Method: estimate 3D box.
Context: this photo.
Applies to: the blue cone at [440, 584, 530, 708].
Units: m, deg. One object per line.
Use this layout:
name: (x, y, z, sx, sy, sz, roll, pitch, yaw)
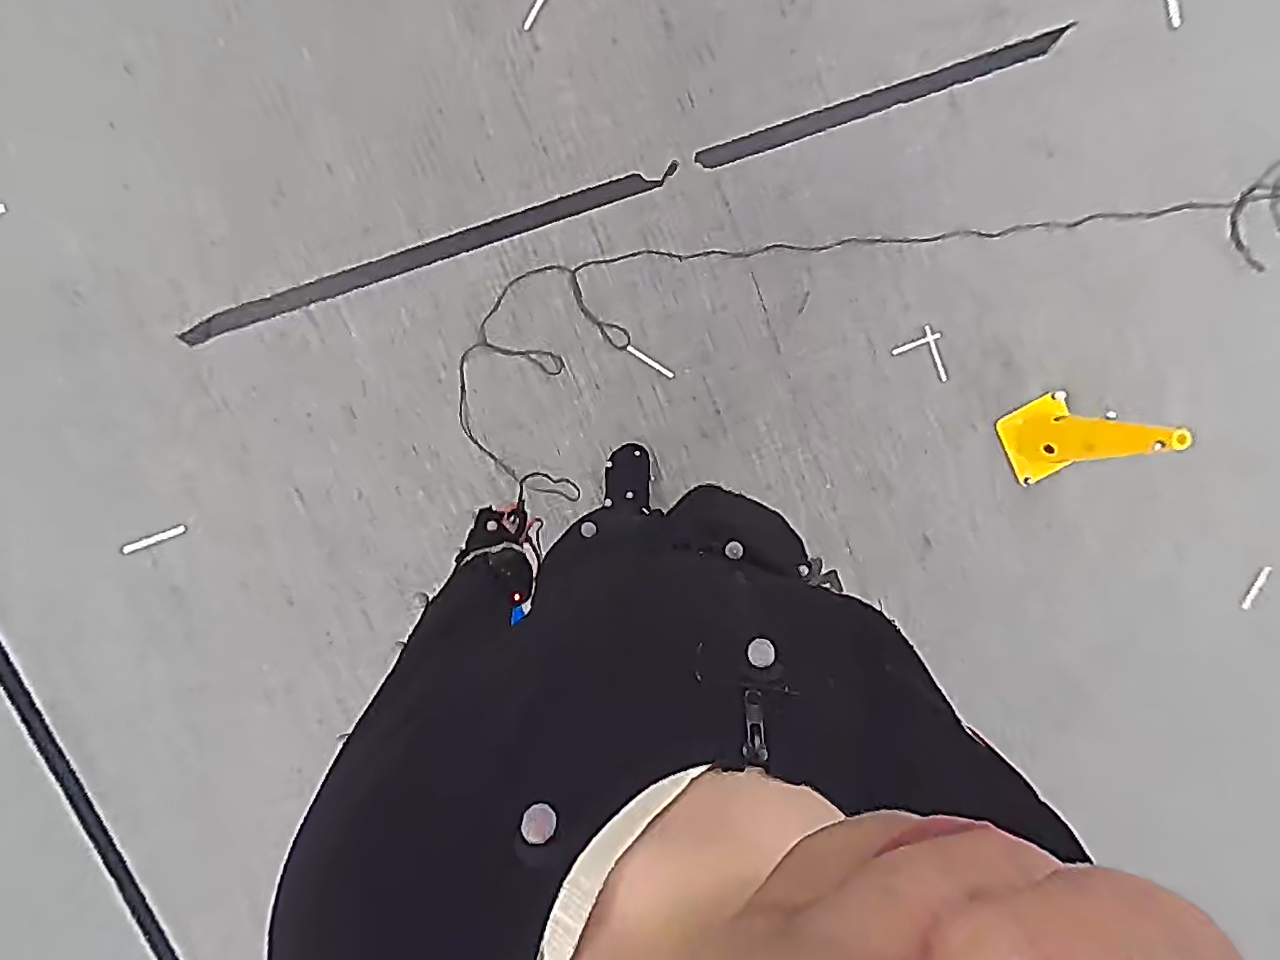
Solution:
blue cone: (-0.377, 0.384, 1.197, 0.193, 0.380, 0.192, -20, 97, -3)
